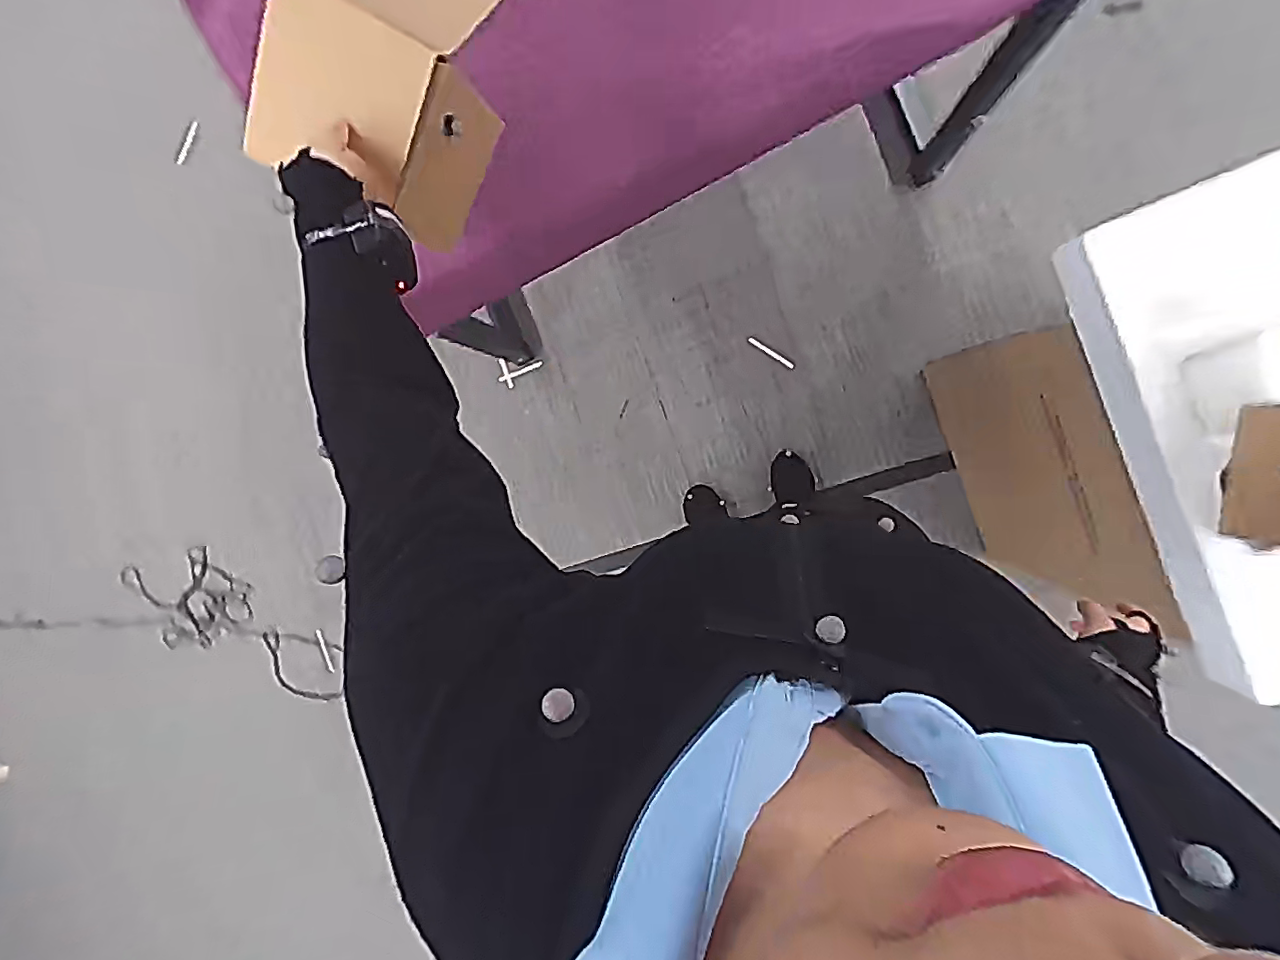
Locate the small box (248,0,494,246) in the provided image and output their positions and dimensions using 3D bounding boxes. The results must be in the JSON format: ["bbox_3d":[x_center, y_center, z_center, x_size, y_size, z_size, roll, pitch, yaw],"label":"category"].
[{"bbox_3d":[-0.286,-0.396,0.615,0.168,0.176,0.179,27,106,-2],"label":"small box"}]
